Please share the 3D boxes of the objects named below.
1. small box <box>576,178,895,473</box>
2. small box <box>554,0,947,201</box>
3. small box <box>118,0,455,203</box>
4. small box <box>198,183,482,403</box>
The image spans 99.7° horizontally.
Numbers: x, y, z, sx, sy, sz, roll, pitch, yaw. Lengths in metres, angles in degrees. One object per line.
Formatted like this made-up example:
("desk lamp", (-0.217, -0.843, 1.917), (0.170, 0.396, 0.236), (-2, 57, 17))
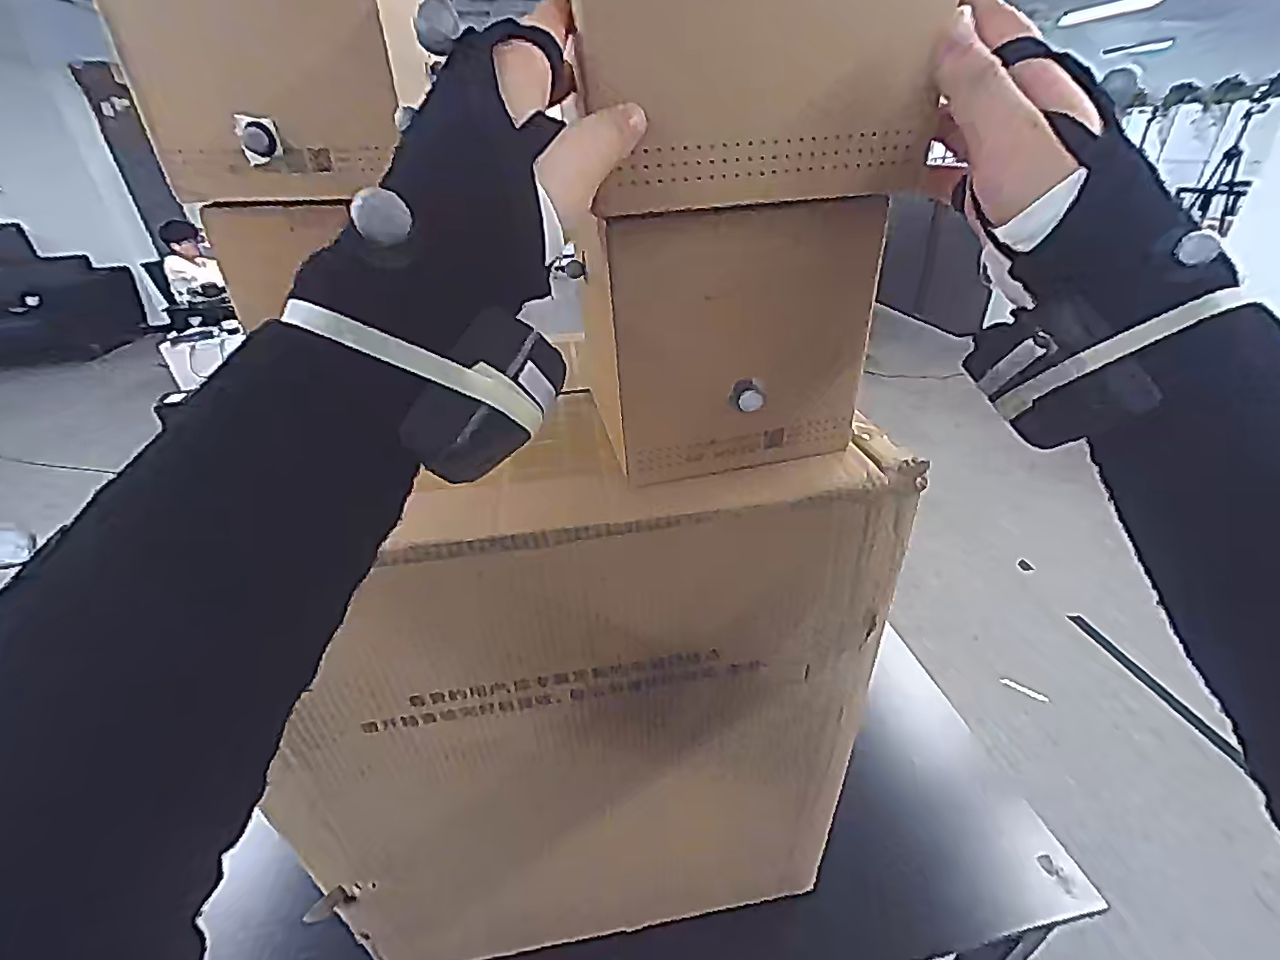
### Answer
("small box", (0.050, -0.125, 0.400), (0.168, 0.176, 0.179), (-10, 33, -9))
("small box", (0.045, -0.252, 0.290), (0.179, 0.176, 0.168), (-8, 32, -7))
("small box", (-0.249, -0.311, 0.412), (0.168, 0.176, 0.179), (-6, 32, -6))
("small box", (-0.250, -0.178, 0.509), (0.168, 0.176, 0.179), (-6, 32, -8))
